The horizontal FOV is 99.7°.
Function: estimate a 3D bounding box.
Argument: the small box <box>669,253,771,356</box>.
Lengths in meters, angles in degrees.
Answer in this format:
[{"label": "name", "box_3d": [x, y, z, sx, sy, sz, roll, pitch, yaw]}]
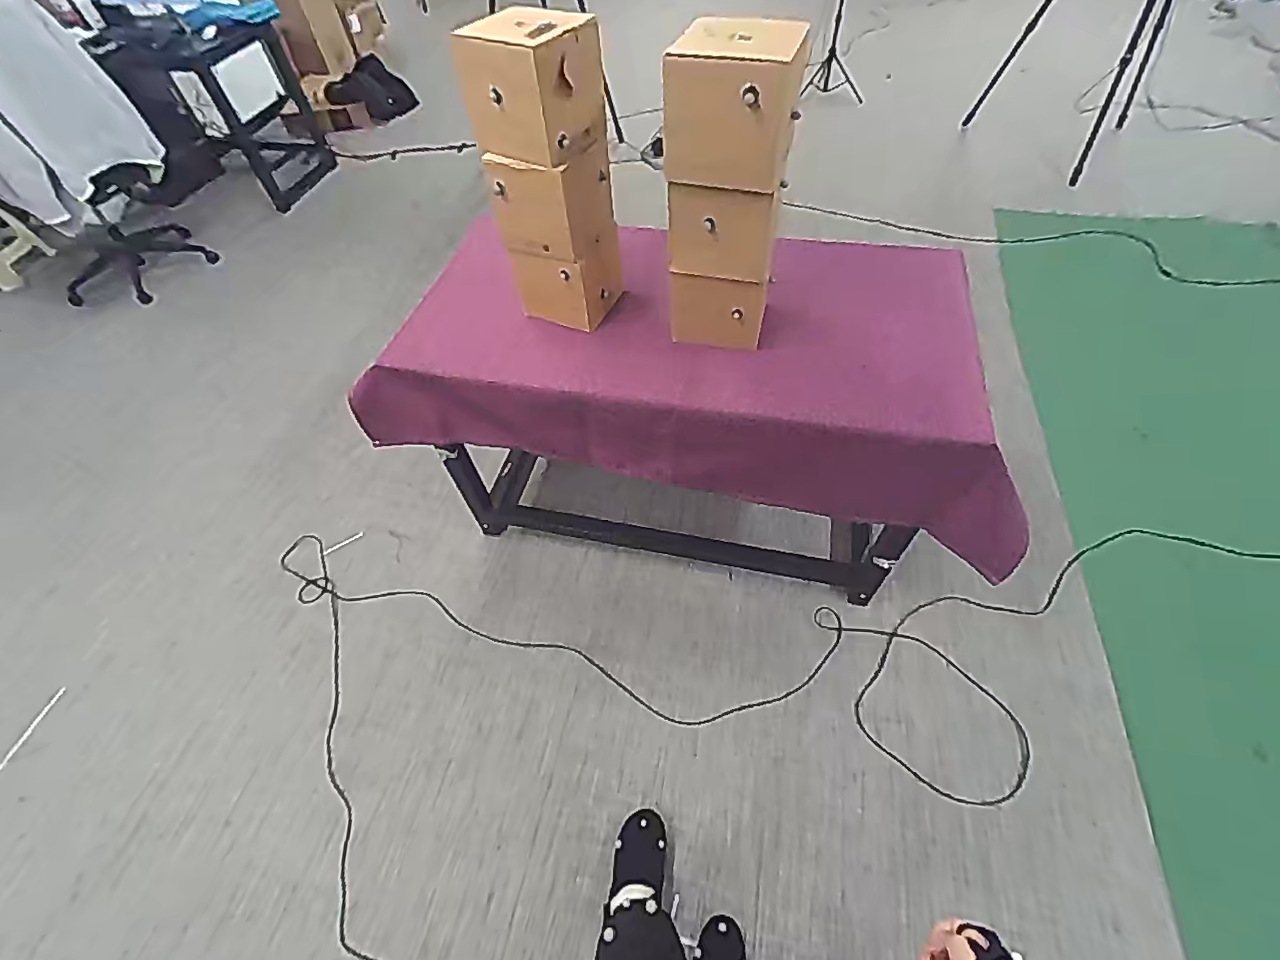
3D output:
[{"label": "small box", "box_3d": [0.164, -0.377, 1.117, 0.179, 0.176, 0.168, 10, 53, 12]}]

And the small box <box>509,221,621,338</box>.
[{"label": "small box", "box_3d": [-0.155, -0.438, 1.189, 0.179, 0.176, 0.168, 18, 56, 17]}]

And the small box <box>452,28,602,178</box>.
[{"label": "small box", "box_3d": [-0.183, -0.651, 0.939, 0.179, 0.176, 0.168, 24, 57, 21]}]

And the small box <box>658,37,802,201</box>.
[{"label": "small box", "box_3d": [0.137, -0.559, 0.843, 0.179, 0.176, 0.168, 14, 54, 15]}]

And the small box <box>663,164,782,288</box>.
[{"label": "small box", "box_3d": [0.150, -0.470, 0.983, 0.179, 0.176, 0.168, 11, 55, 13]}]
